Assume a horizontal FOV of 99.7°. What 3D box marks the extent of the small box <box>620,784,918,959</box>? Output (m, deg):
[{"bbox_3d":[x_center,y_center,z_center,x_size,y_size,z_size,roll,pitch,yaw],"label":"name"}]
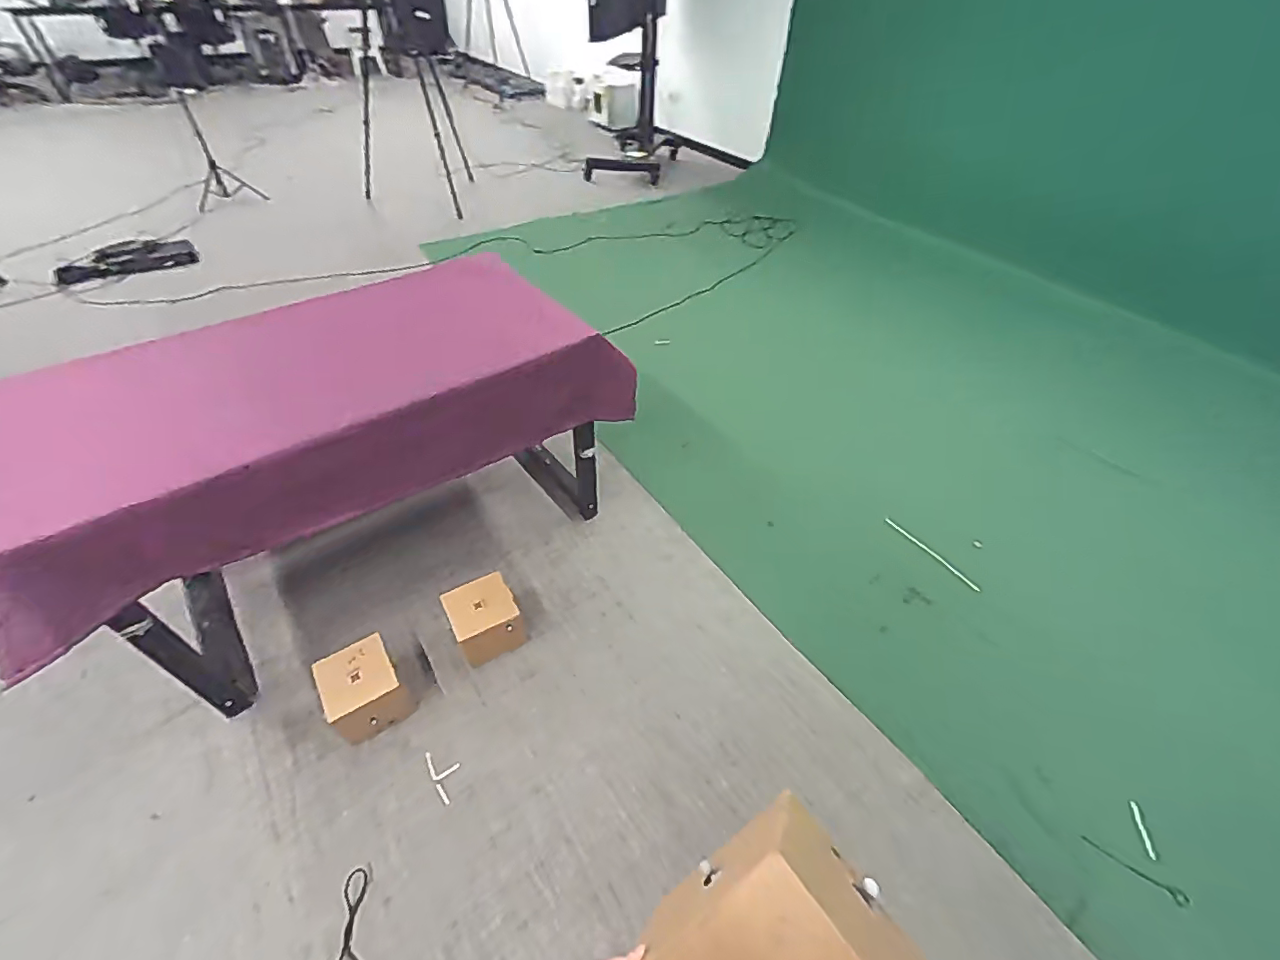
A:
[{"bbox_3d":[0.110,0.391,0.439,0.179,0.176,0.168,-46,67,2],"label":"small box"}]
